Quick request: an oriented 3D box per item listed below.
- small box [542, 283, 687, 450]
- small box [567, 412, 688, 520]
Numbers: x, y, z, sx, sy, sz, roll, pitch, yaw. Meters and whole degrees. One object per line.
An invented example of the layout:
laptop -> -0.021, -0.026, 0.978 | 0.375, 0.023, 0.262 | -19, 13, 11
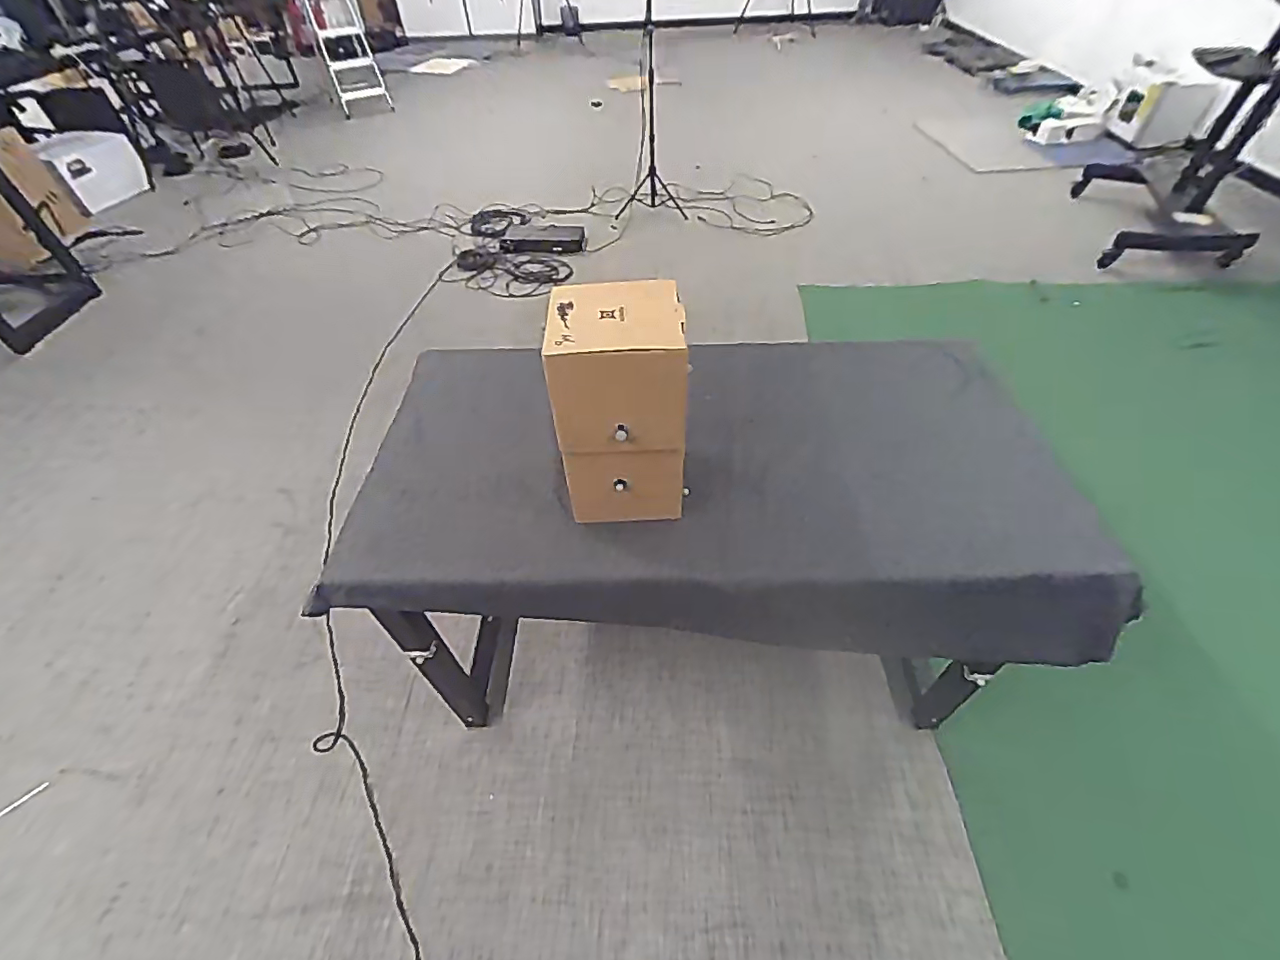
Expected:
small box -> -0.032, -0.156, 0.756 | 0.179, 0.176, 0.168 | -2, 48, 0
small box -> -0.024, -0.050, 0.881 | 0.179, 0.176, 0.168 | -4, 48, -3
